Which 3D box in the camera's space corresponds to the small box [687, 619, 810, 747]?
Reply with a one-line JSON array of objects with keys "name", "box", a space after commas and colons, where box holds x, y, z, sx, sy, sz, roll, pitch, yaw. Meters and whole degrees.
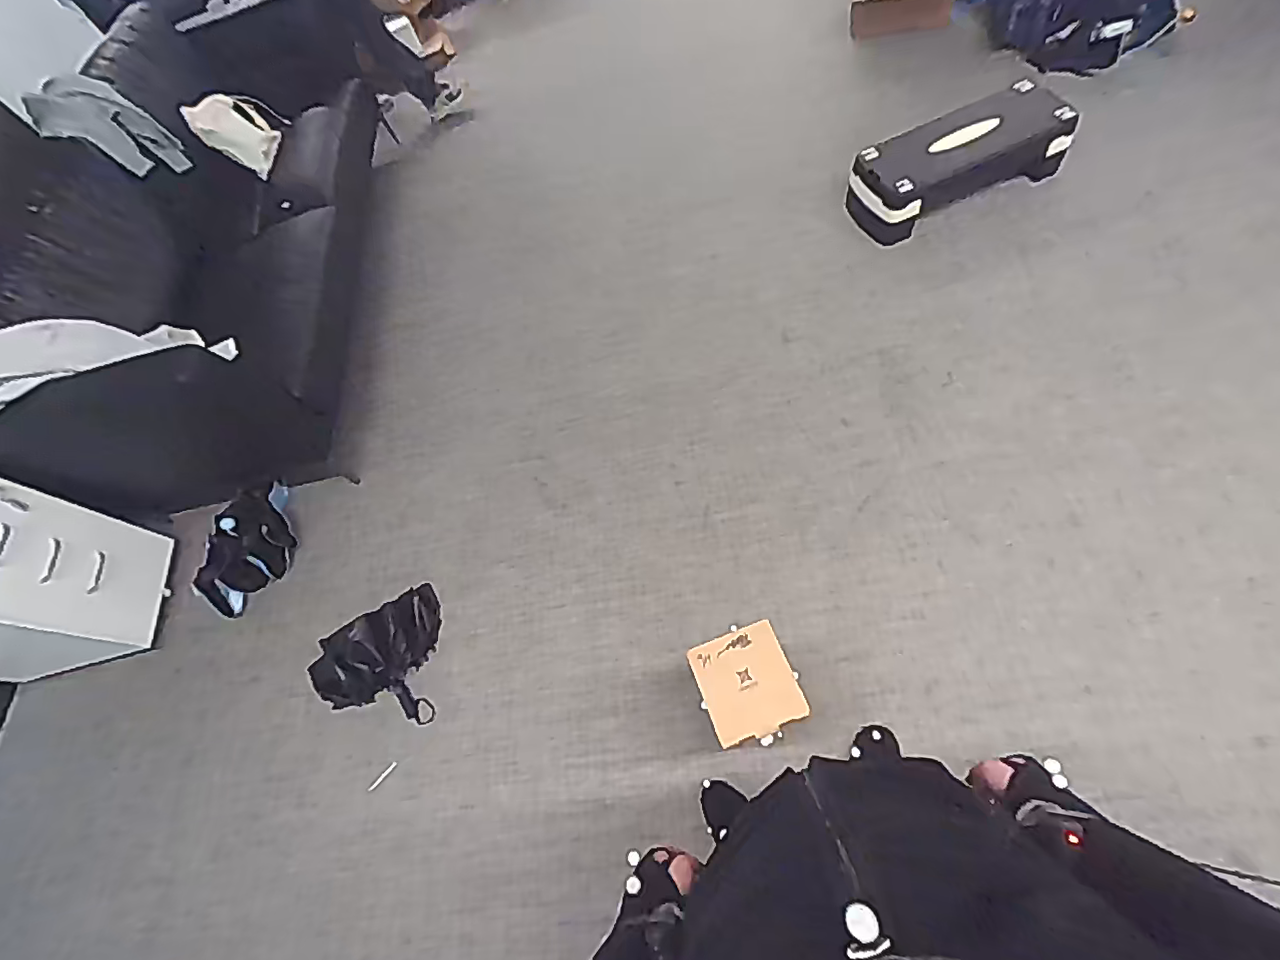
[{"name": "small box", "box": [0.206, 0.385, 1.025, 0.168, 0.176, 0.179, -23, 63, 3]}]
